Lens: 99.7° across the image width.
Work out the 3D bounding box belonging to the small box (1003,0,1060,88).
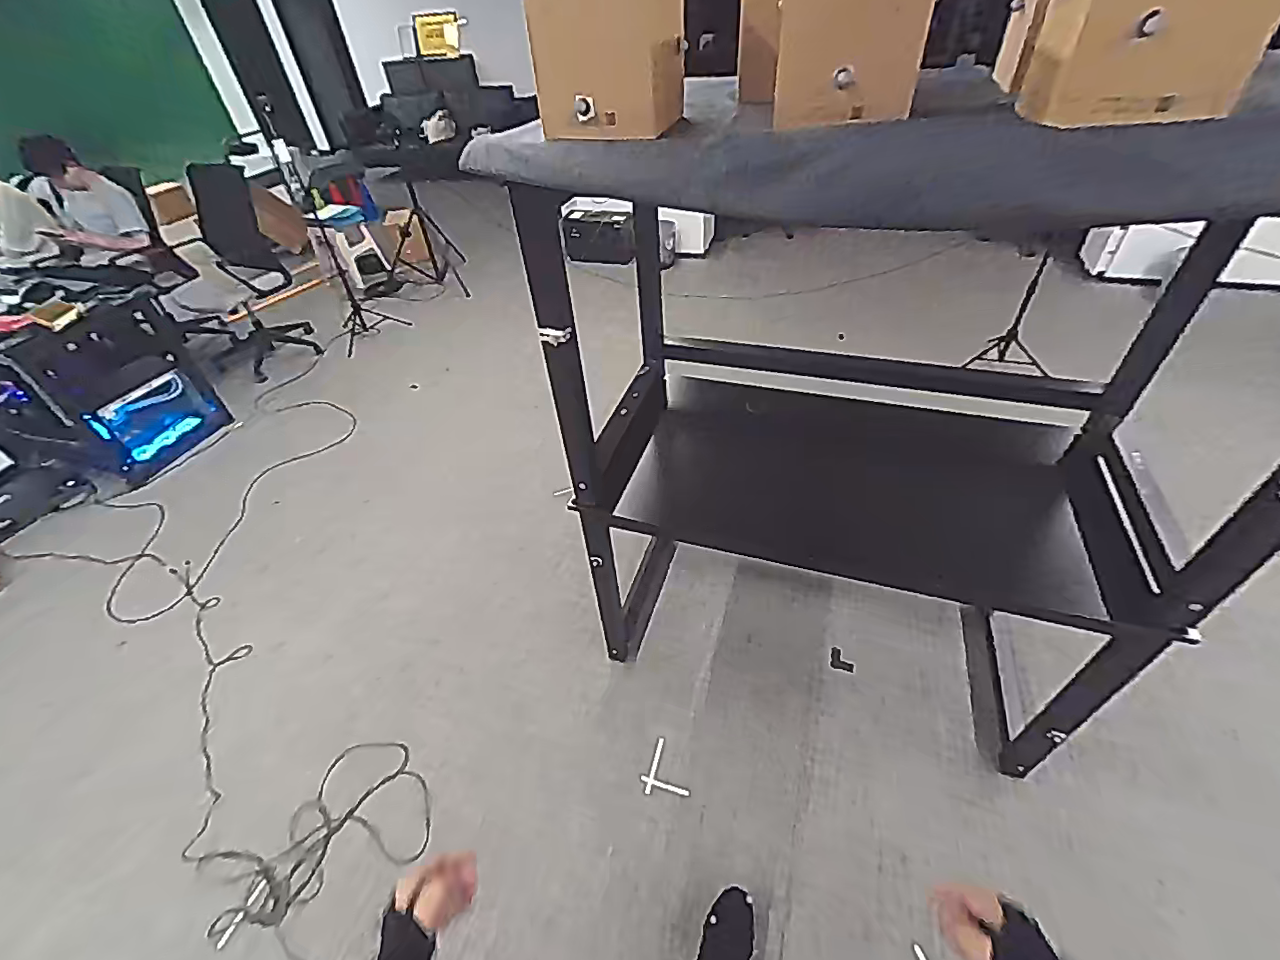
[{"bbox_3d":[0.647,-0.670,0.770,0.168,0.176,0.179,10,44,16],"label":"small box"}]

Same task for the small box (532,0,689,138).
[{"bbox_3d":[-0.032,-0.579,0.733,0.168,0.176,0.179,9,44,15],"label":"small box"}]

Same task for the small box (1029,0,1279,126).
[{"bbox_3d":[0.555,-0.489,0.580,0.168,0.176,0.179,9,42,16],"label":"small box"}]
